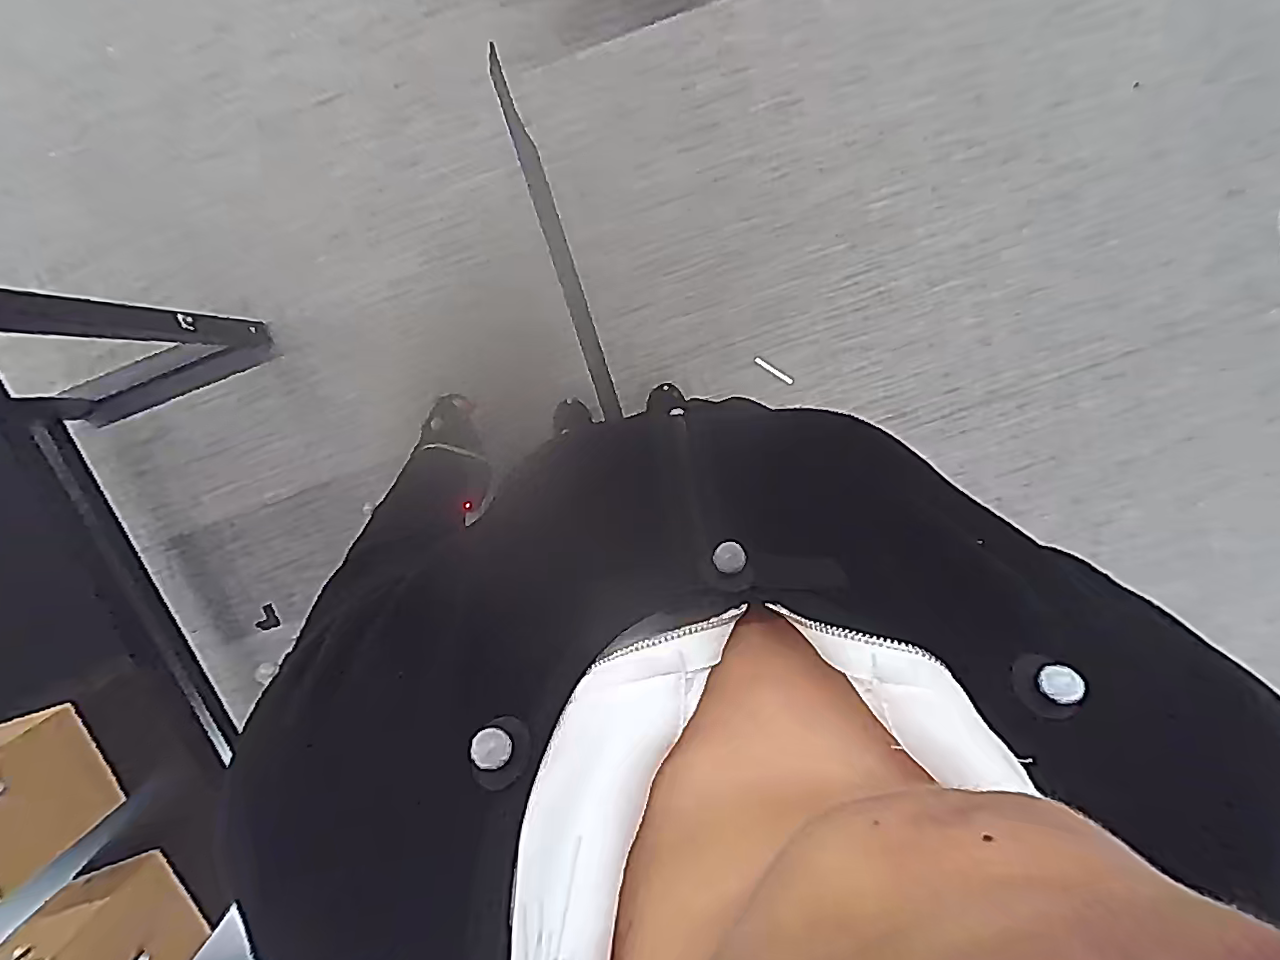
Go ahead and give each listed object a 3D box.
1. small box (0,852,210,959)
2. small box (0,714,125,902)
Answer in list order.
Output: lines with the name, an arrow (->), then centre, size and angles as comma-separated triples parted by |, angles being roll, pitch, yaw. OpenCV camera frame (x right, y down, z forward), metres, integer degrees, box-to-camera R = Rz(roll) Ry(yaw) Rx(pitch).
small box -> -0.794, 0.701, 0.791 | 0.168, 0.176, 0.179 | -21, 101, 3
small box -> -0.884, 0.448, 0.738 | 0.168, 0.176, 0.179 | -18, 101, 3
